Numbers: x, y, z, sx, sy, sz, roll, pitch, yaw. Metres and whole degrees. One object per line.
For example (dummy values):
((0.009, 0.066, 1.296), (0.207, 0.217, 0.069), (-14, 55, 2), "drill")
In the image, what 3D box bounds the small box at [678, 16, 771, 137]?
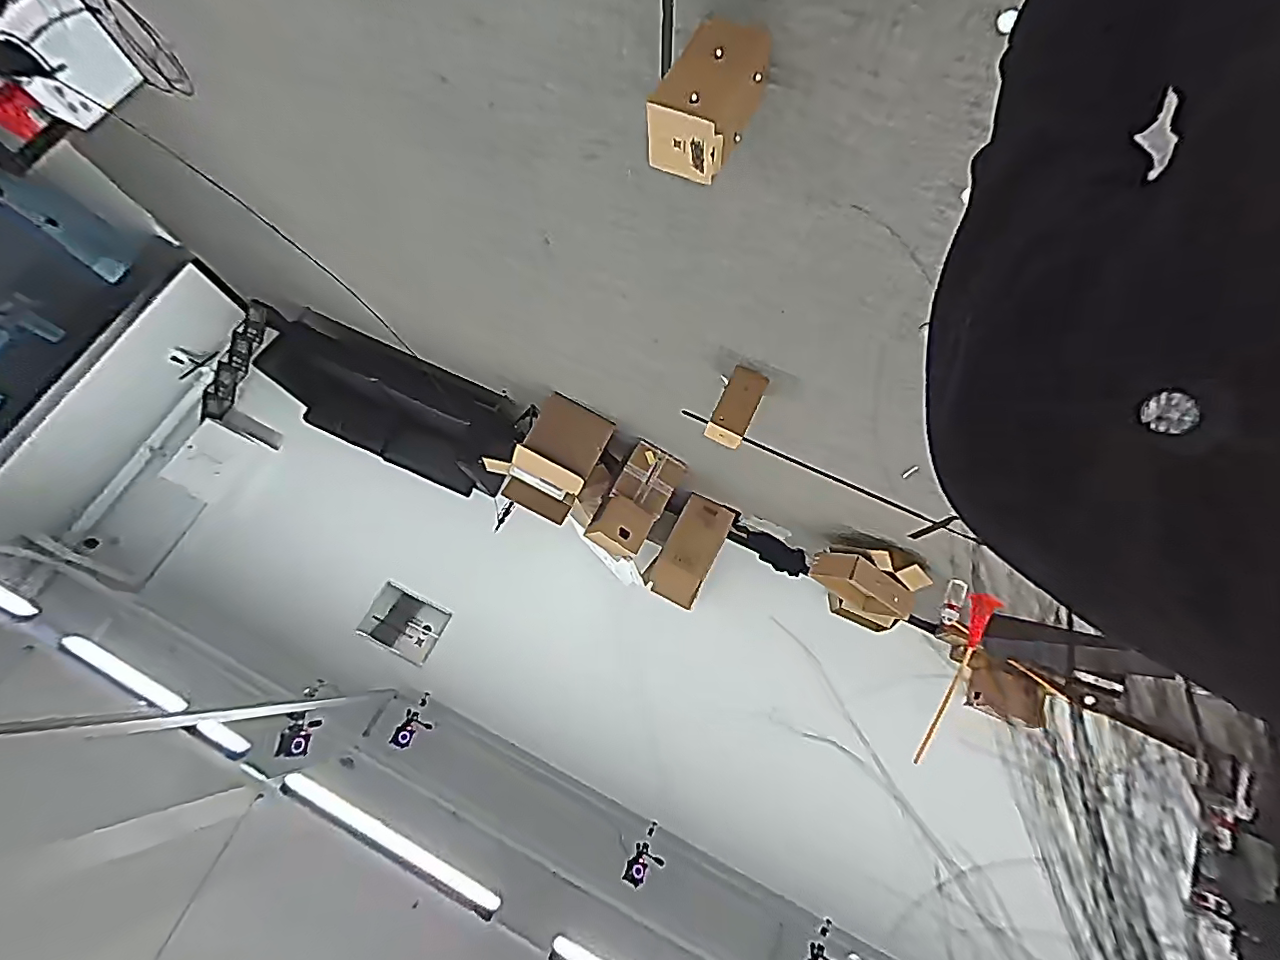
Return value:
((0.209, -1.008, 1.351), (0.179, 0.176, 0.168), (25, 163, 13), "small box")

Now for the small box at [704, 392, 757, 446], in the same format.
((0.428, -0.293, 2.564), (0.179, 0.176, 0.168), (25, 164, 4), "small box")

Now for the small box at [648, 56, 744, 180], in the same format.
((0.136, -0.870, 1.299), (0.179, 0.176, 0.168), (25, 163, 12), "small box")
